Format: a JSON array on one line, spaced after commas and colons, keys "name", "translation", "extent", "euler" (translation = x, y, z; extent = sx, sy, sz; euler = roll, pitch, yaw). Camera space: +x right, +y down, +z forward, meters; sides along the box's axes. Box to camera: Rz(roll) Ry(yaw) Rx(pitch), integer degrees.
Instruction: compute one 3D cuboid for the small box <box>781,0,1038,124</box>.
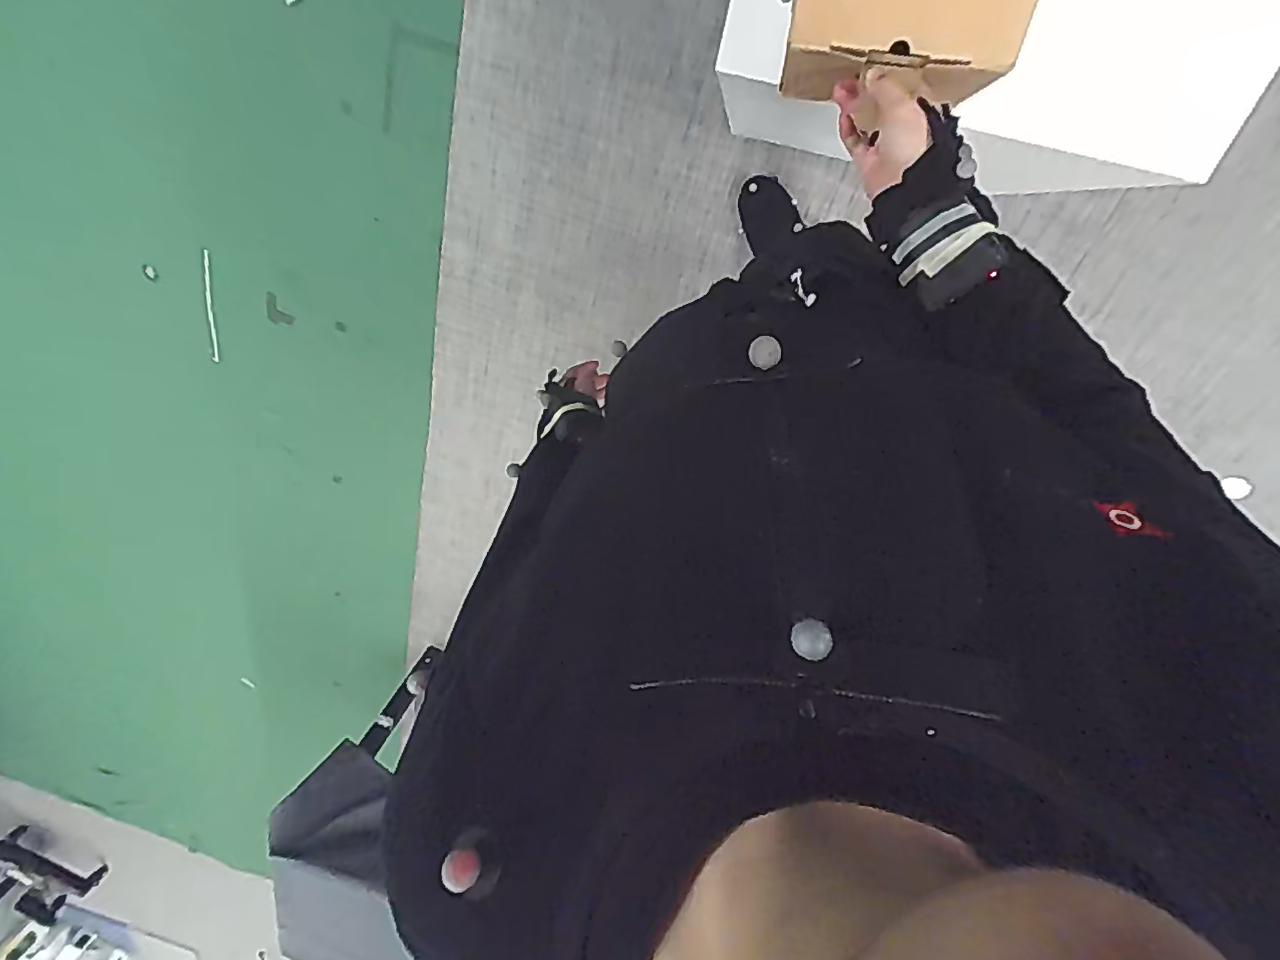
[{"name": "small box", "translation": [0.215, -0.415, 0.438], "extent": [0.168, 0.176, 0.179], "euler": [11, 116, 6]}]
